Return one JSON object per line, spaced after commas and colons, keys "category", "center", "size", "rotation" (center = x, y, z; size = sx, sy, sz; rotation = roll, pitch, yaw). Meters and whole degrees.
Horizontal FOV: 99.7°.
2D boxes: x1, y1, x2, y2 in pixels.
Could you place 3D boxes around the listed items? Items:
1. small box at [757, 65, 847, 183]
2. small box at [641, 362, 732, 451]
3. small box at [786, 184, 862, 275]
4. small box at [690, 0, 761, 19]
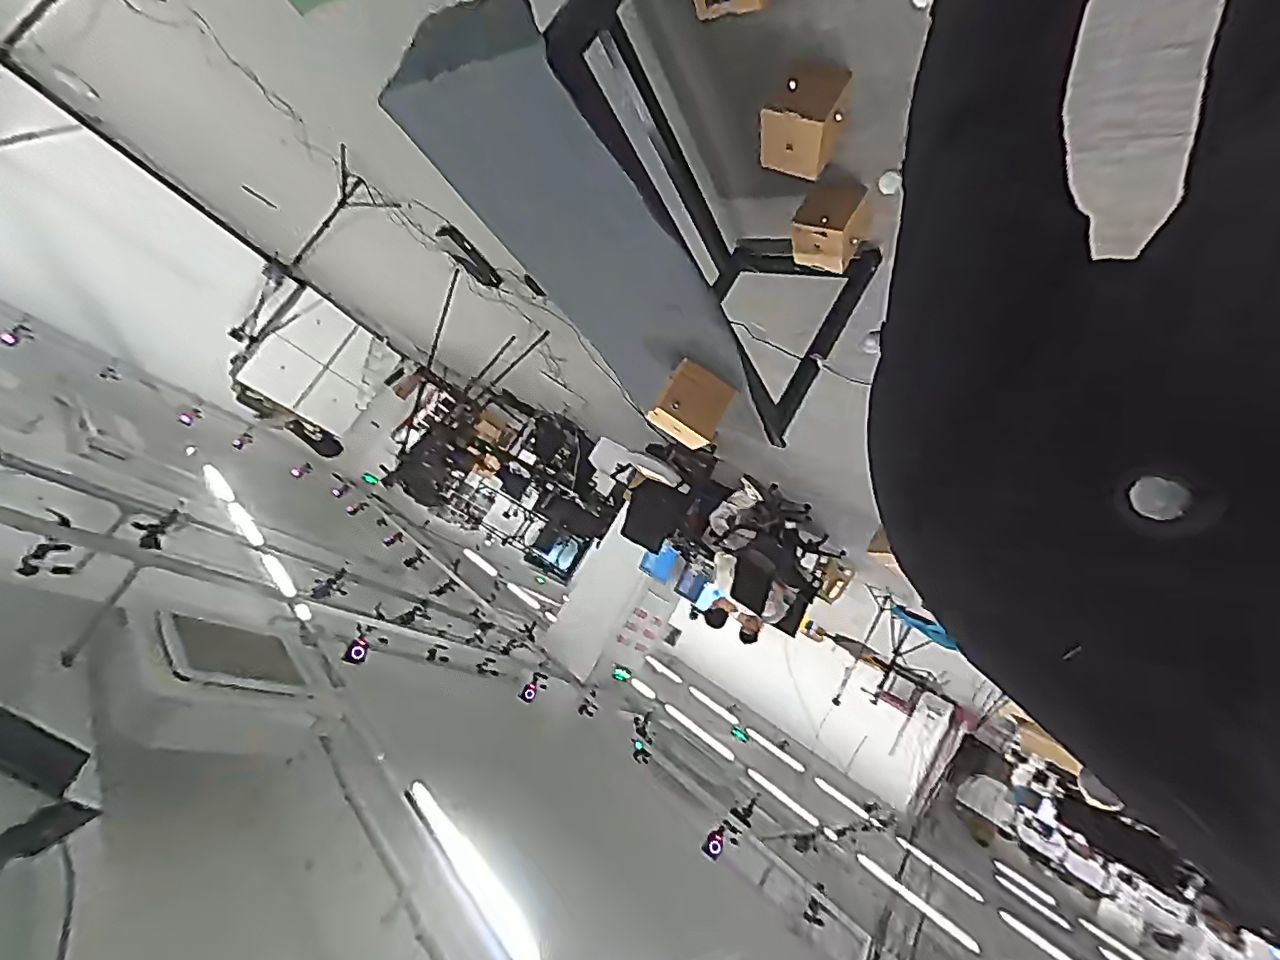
{"category": "small box", "center": [0.416, -0.923, 1.401], "size": [0.168, 0.176, 0.179], "rotation": [29, 171, 19]}
{"category": "small box", "center": [0.133, -0.206, 1.532], "size": [0.179, 0.176, 0.168], "rotation": [33, 170, -8]}
{"category": "small box", "center": [0.571, -0.774, 1.674], "size": [0.168, 0.176, 0.179], "rotation": [26, 170, 27]}
{"category": "small box", "center": [0.196, -1.113, 1.117], "size": [0.168, 0.176, 0.179], "rotation": [24, 167, 33]}
